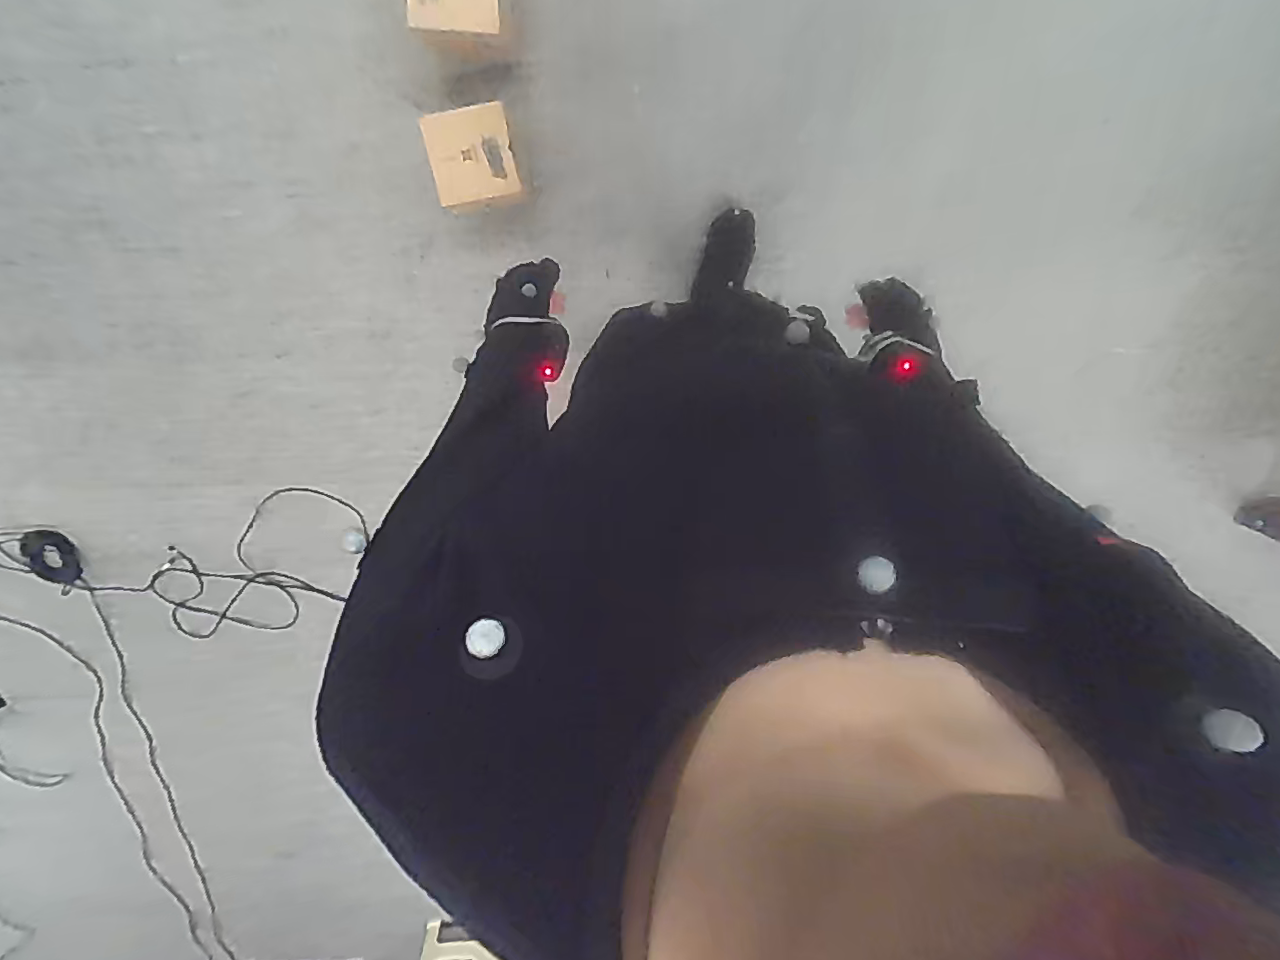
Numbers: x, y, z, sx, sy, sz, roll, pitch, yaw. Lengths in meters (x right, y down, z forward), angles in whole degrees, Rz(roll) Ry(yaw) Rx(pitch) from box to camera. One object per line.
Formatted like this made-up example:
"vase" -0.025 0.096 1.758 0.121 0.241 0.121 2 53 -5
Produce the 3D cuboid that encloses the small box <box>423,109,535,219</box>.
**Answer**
"small box" -0.335 -0.677 1.176 0.179 0.176 0.168 -8 110 5
